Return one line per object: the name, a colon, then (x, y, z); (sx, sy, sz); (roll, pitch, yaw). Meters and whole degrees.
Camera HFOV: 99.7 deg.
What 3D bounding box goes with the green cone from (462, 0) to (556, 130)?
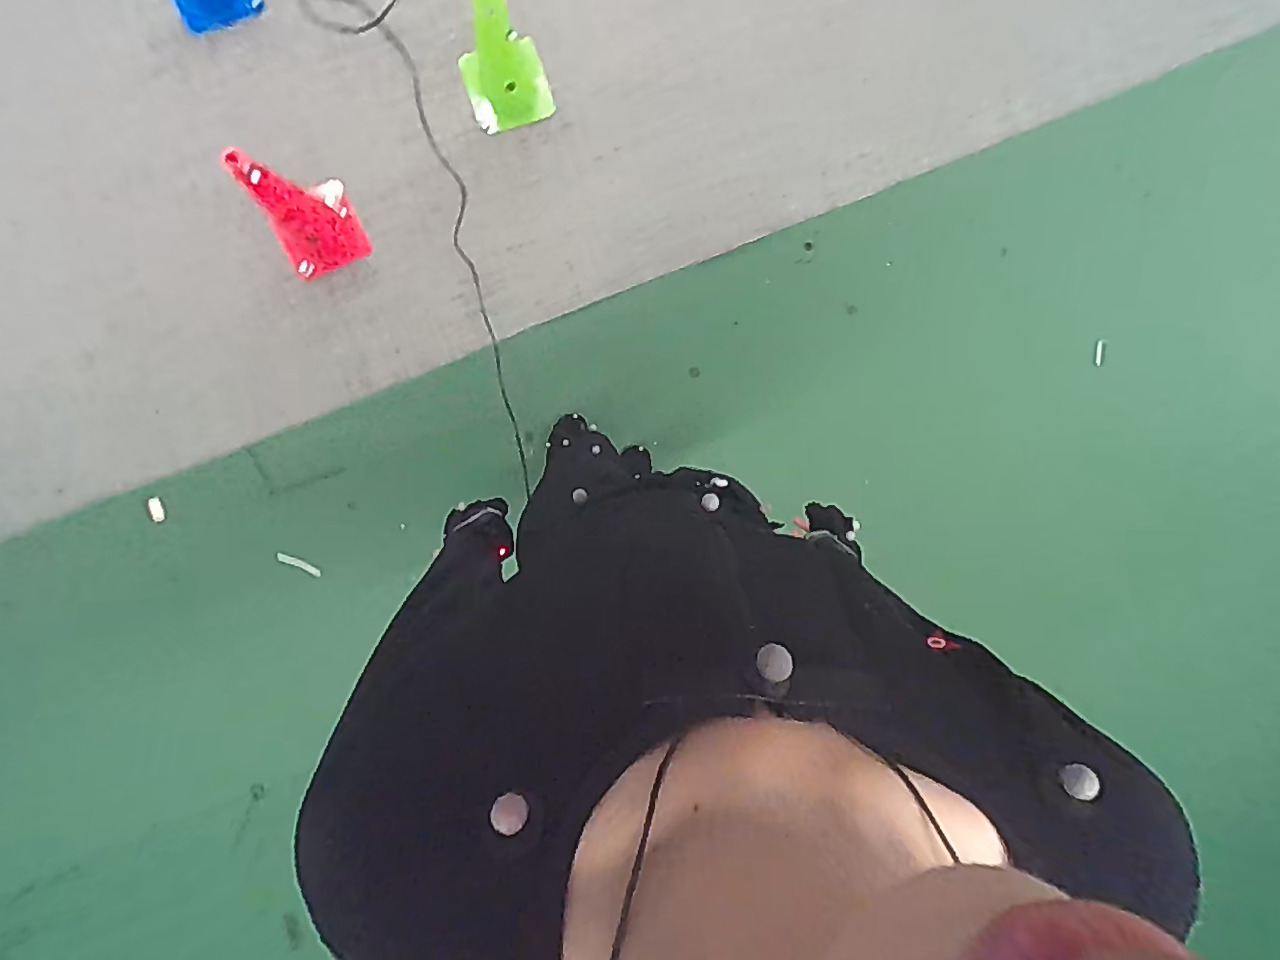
green cone: (-0.320, -1.017, 1.227); (0.200, 0.368, 0.202); (-21, 95, -4)
